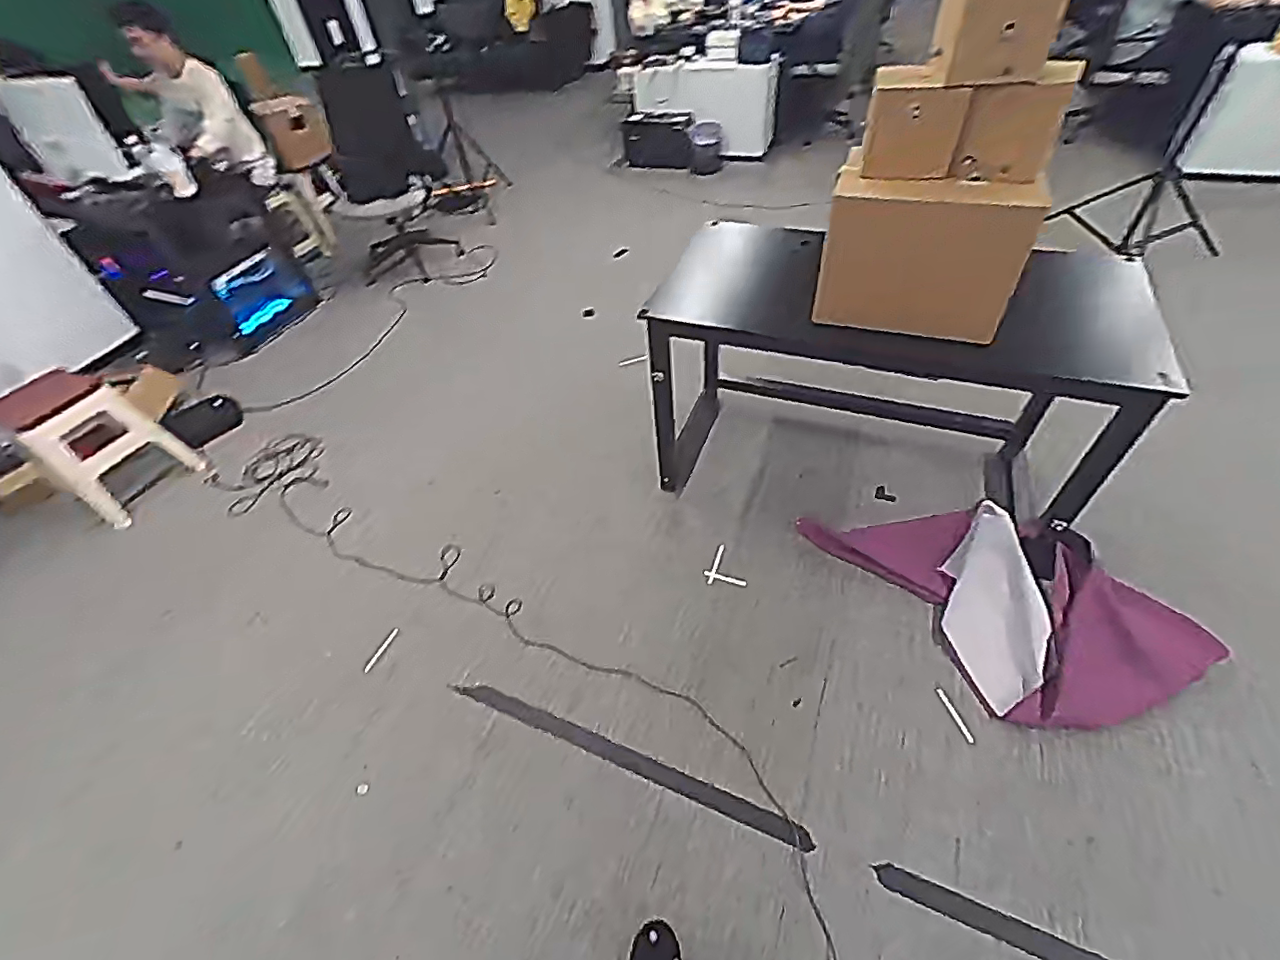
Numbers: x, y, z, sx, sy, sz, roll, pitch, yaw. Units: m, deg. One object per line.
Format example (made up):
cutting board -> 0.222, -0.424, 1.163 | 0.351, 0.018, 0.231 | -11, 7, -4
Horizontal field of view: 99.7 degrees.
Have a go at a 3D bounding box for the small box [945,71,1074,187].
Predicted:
small box -> 0.757, -0.727, 1.122 | 0.168, 0.176, 0.179 | 22, 52, 25

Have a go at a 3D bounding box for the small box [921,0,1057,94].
small box -> 0.657, -0.852, 1.026 | 0.168, 0.176, 0.179 | 3, 48, 9

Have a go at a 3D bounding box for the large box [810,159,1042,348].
large box -> 0.653, -0.549, 1.302 | 0.408, 0.320, 0.320 | 13, 50, 17
